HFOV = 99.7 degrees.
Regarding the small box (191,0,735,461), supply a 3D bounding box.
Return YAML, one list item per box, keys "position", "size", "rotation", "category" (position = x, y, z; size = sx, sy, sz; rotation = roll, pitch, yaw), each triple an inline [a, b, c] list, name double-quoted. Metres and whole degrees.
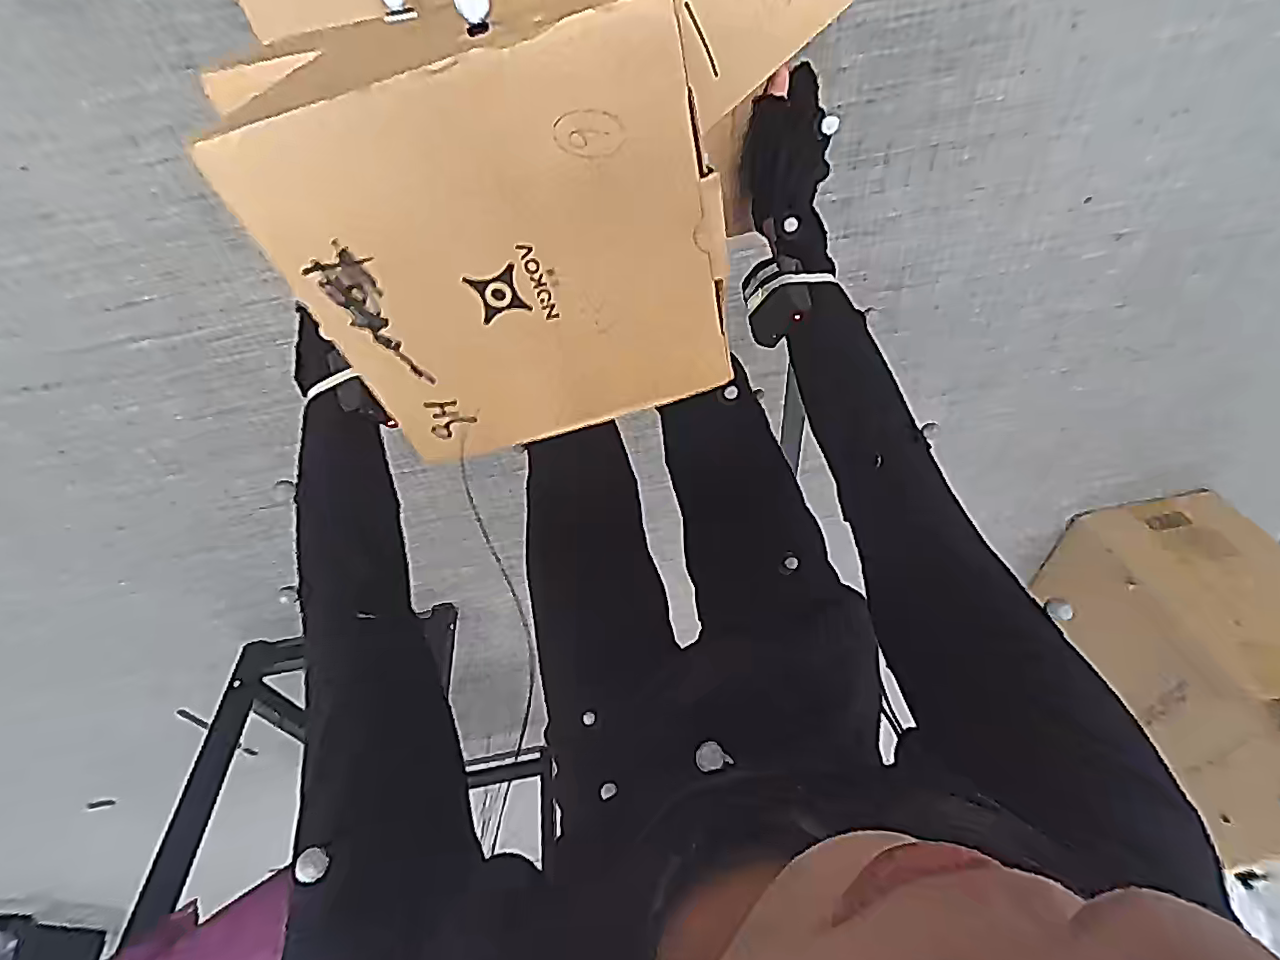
- position: [-0.062, -0.142, 0.285]
  size: [0.179, 0.176, 0.168]
  rotation: [-15, 136, 5]
  category: "small box"
